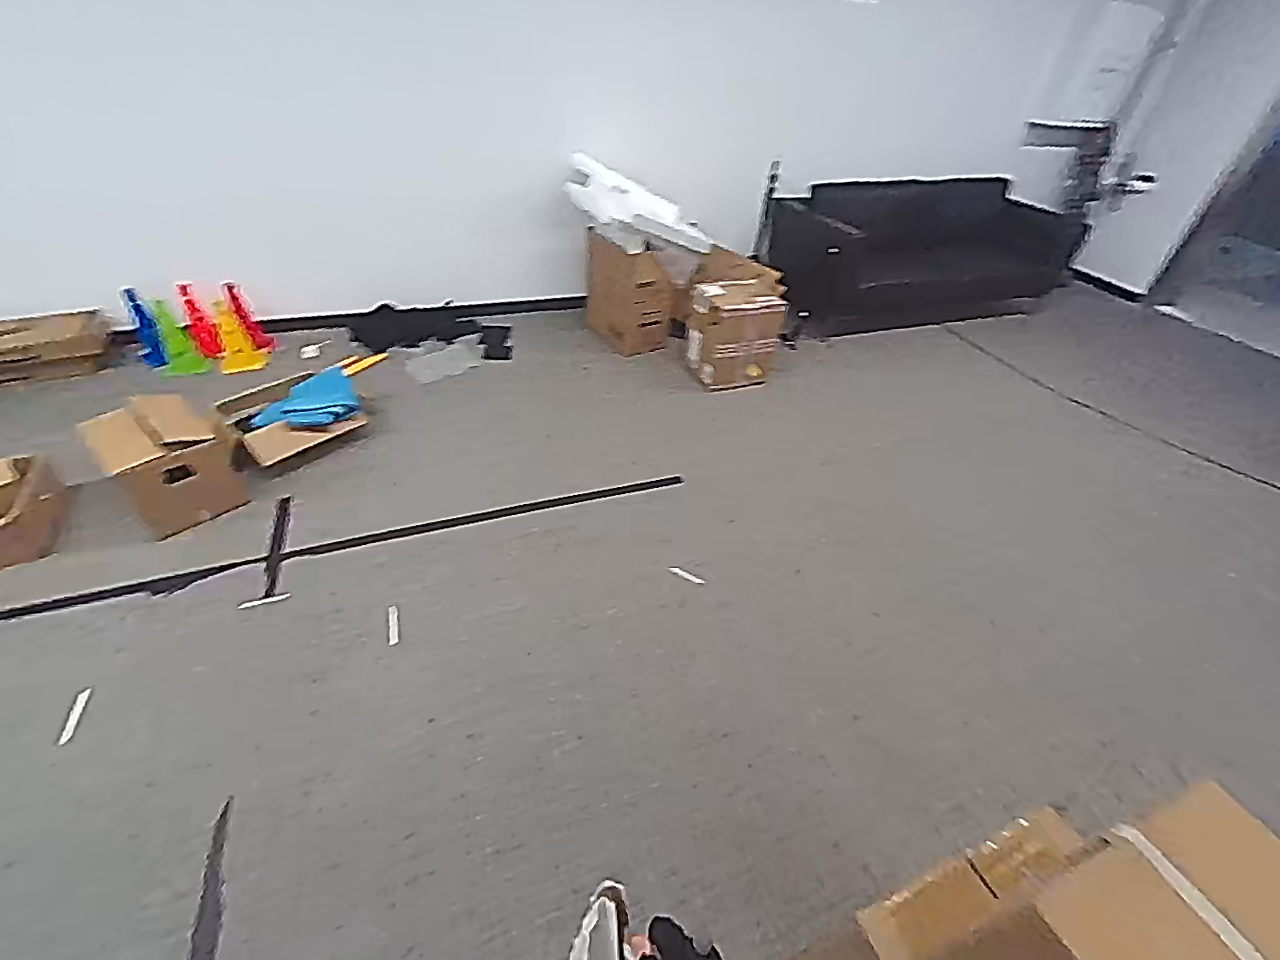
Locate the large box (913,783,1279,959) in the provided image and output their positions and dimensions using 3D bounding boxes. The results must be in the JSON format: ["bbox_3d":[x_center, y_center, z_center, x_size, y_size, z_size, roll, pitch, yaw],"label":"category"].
[{"bbox_3d":[0.590,0.624,0.555,0.320,0.320,0.408,-13,43,-20],"label":"large box"}]
